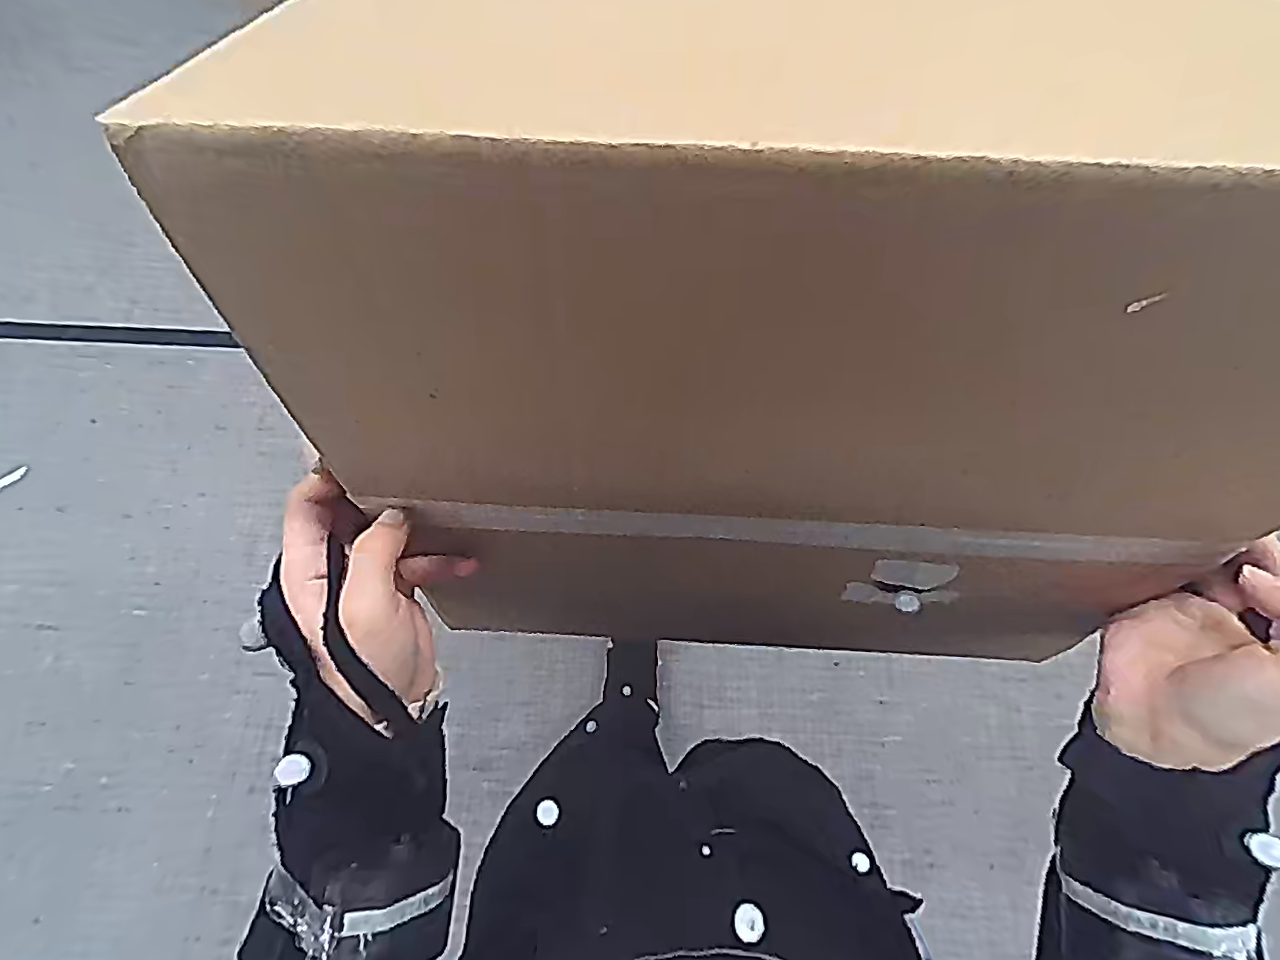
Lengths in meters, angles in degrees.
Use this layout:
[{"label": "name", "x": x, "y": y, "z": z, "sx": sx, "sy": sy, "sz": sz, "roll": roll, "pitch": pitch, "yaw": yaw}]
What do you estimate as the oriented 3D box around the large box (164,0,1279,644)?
[{"label": "large box", "x": 0.070, "y": -0.103, "z": 0.346, "sx": 0.408, "sy": 0.320, "sz": 0.320, "roll": 2, "pitch": 54, "yaw": 1}]
